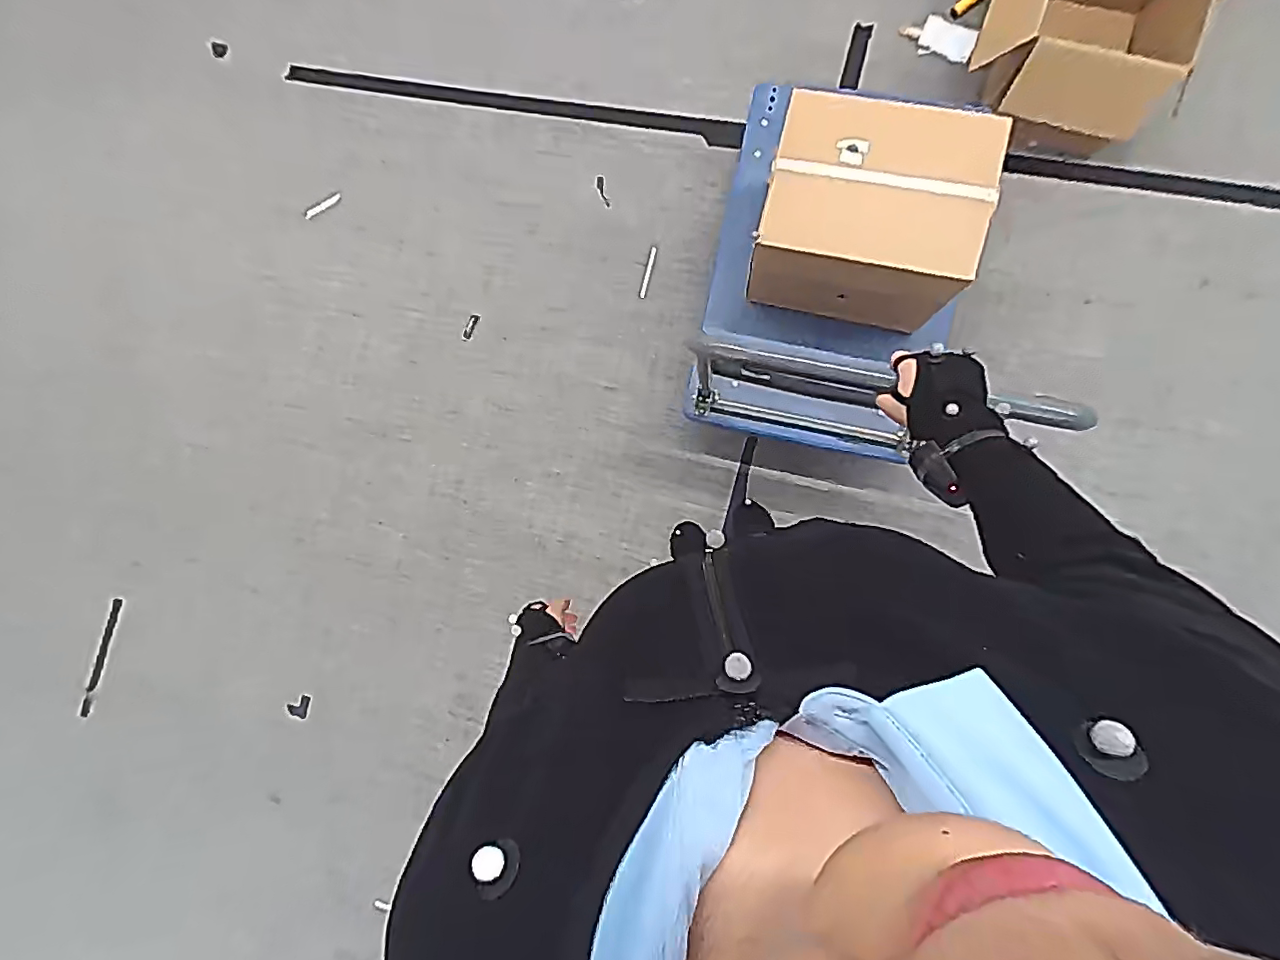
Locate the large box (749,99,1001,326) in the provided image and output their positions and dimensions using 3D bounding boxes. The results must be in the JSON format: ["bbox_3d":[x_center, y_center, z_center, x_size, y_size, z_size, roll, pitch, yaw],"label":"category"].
[{"bbox_3d":[0.475,-0.557,1.180,0.408,0.320,0.320,13,88,9],"label":"large box"}]
